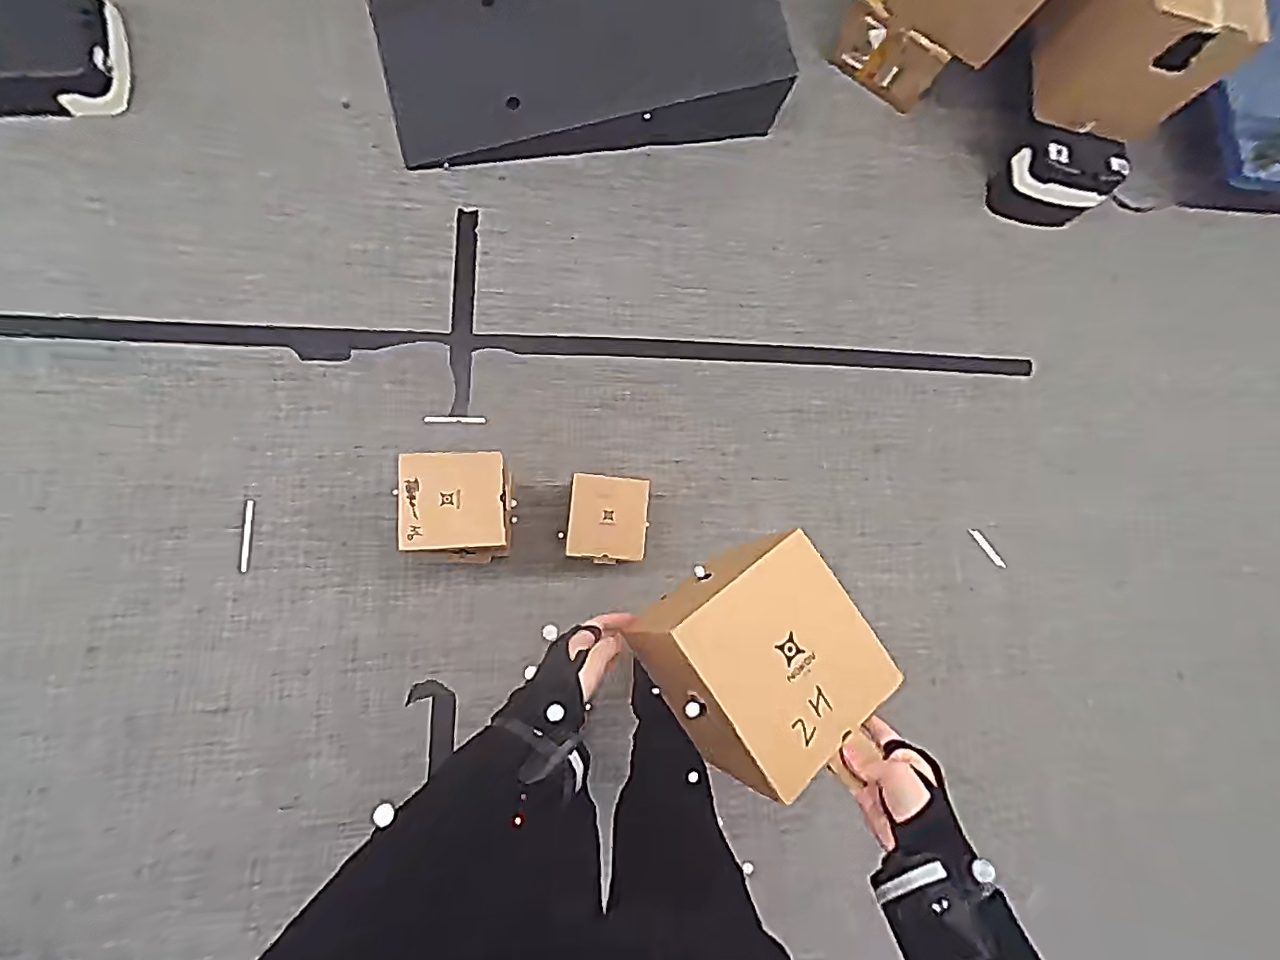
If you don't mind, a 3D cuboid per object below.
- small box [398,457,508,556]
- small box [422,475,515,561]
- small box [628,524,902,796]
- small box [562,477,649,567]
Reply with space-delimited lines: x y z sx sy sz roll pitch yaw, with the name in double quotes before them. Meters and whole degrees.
"small box" -0.333 0.053 0.991 0.179 0.176 0.168 -1 81 -12
"small box" -0.359 0.081 1.151 0.168 0.176 0.179 4 80 -11
"small box" 0.111 0.172 0.551 0.168 0.176 0.179 -34 87 -22
"small box" -0.082 0.099 1.204 0.168 0.176 0.179 7 80 -10
